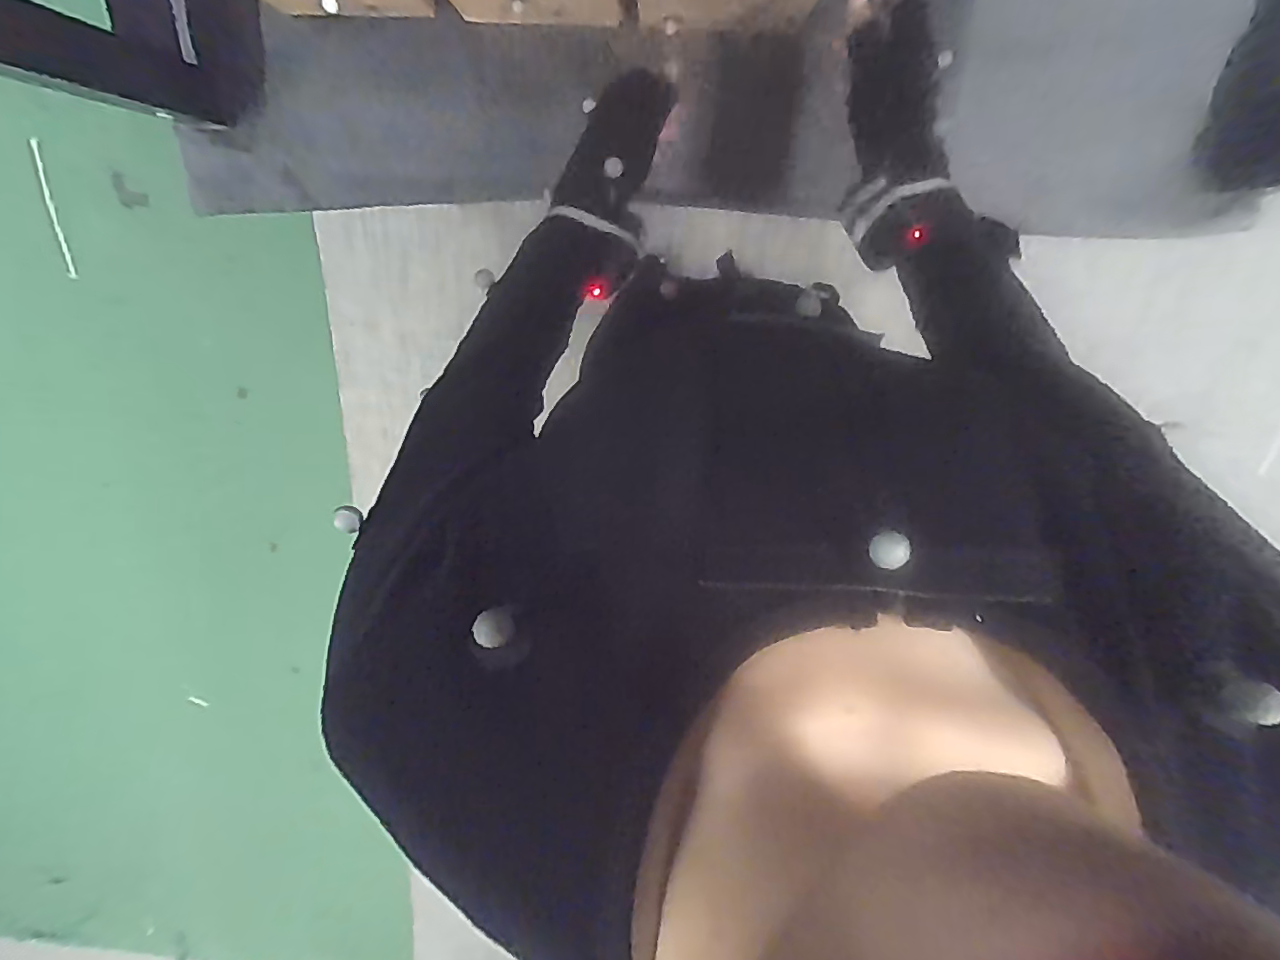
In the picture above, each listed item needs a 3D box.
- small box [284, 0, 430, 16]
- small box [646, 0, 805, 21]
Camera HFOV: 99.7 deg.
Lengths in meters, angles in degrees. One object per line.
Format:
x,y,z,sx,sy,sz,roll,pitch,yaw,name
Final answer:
-0.294,-0.536,0.454,0.168,0.176,0.179,3,113,2,small box
0.080,-0.515,0.445,0.168,0.176,0.179,3,112,2,small box
